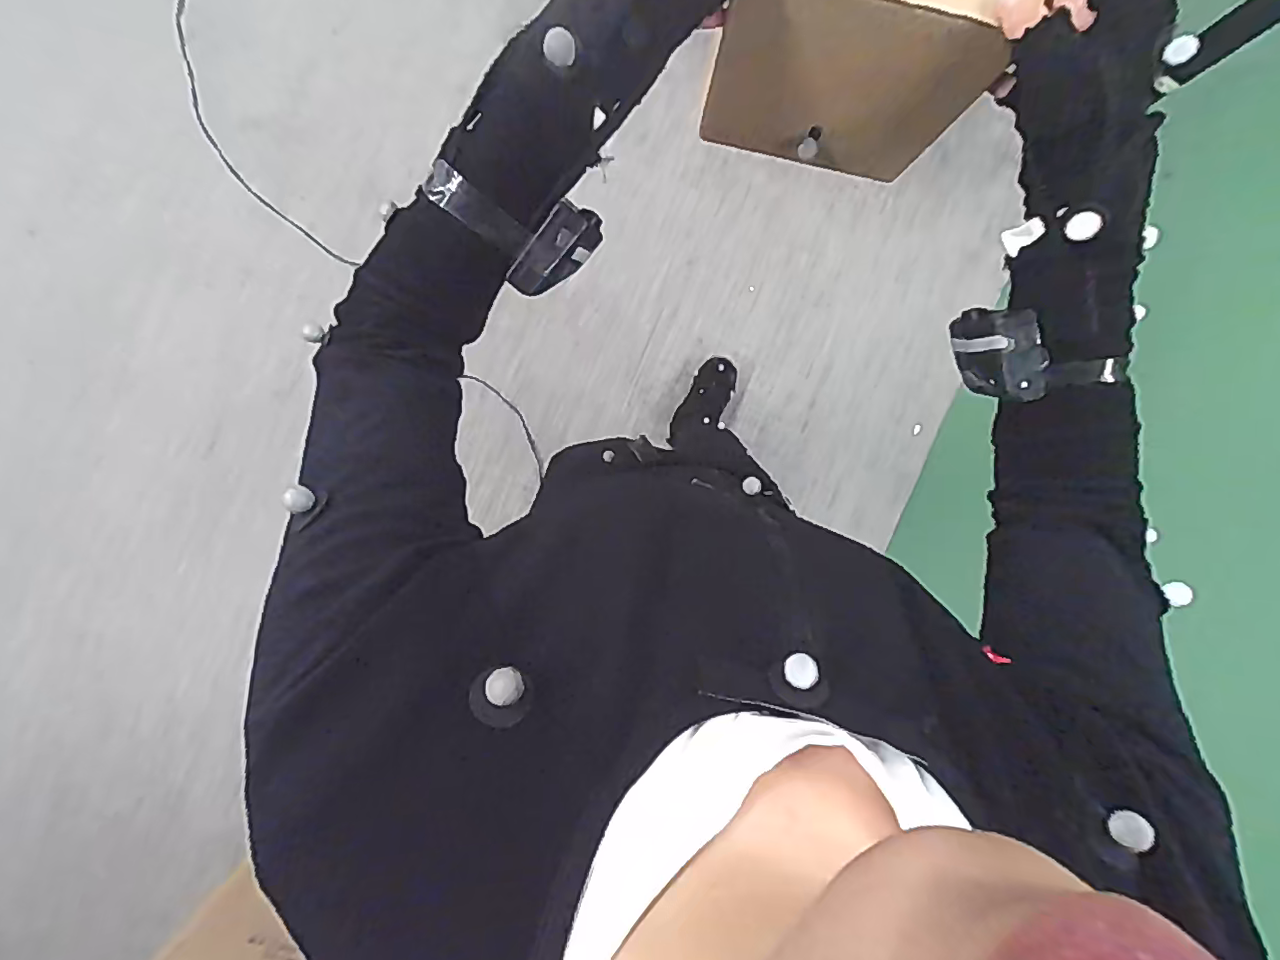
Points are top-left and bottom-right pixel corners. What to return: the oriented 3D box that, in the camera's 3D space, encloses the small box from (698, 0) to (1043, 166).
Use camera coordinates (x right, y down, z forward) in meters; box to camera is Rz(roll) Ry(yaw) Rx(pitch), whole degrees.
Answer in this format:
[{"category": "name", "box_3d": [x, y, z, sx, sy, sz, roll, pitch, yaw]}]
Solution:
[{"category": "small box", "box_3d": [0.152, -0.355, 0.378, 0.179, 0.176, 0.168, 11, 91, -4]}]
